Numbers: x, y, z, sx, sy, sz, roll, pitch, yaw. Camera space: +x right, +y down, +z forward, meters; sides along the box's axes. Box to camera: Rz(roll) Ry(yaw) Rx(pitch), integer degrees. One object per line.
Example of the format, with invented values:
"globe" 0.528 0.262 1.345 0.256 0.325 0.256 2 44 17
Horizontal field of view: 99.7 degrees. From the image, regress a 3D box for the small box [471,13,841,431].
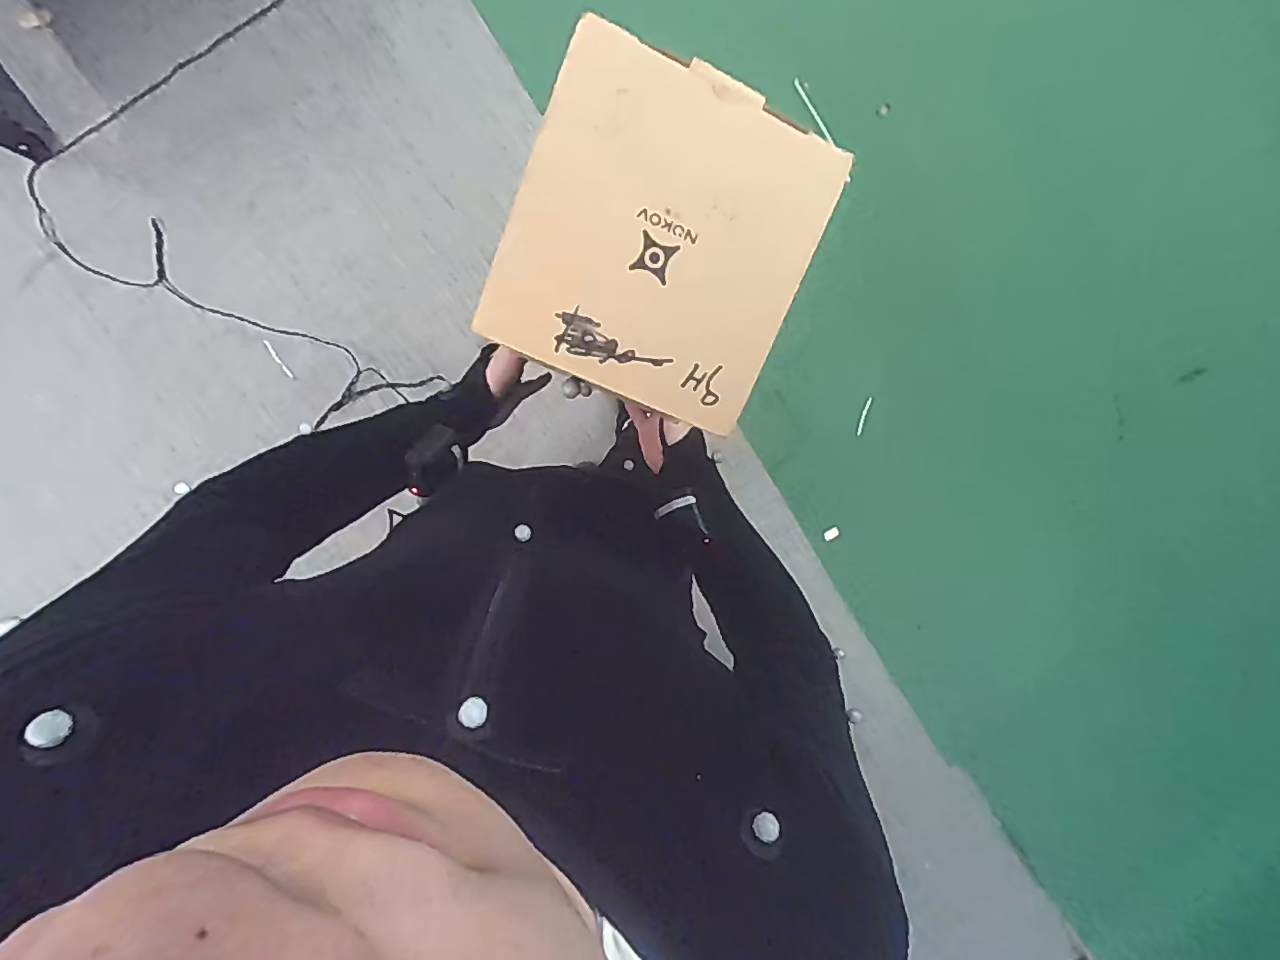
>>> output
"small box" 0.001 -0.153 0.385 0.168 0.176 0.179 22 99 -9
